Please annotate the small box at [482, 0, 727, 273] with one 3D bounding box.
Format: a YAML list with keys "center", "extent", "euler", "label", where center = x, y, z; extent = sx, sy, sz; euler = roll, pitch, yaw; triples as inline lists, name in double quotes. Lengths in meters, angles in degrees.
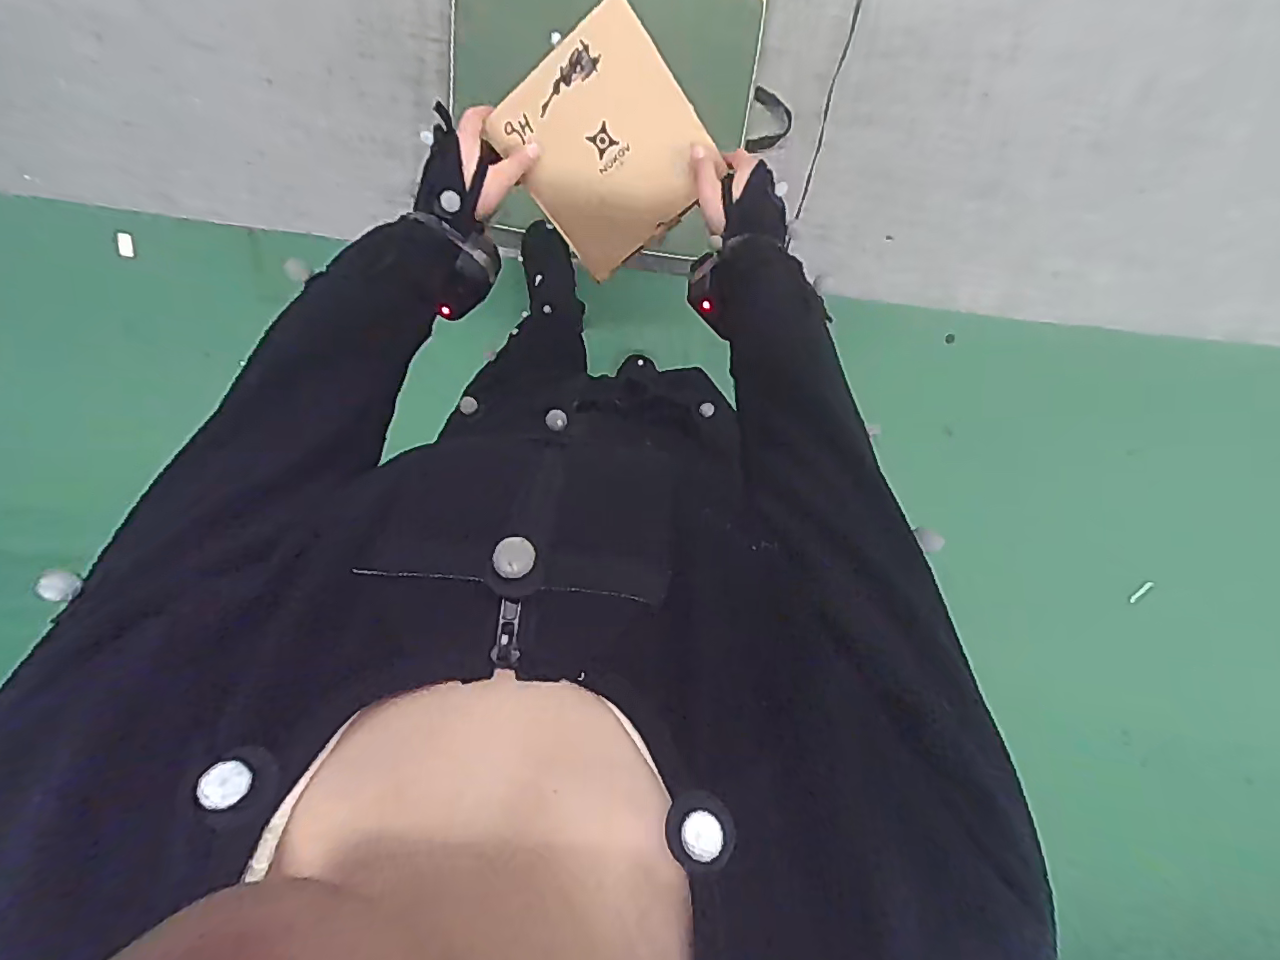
- center: [-0.032, -0.352, 0.575]
  extent: [0.168, 0.176, 0.179]
  euler: [-35, 112, 14]
  label: "small box"
